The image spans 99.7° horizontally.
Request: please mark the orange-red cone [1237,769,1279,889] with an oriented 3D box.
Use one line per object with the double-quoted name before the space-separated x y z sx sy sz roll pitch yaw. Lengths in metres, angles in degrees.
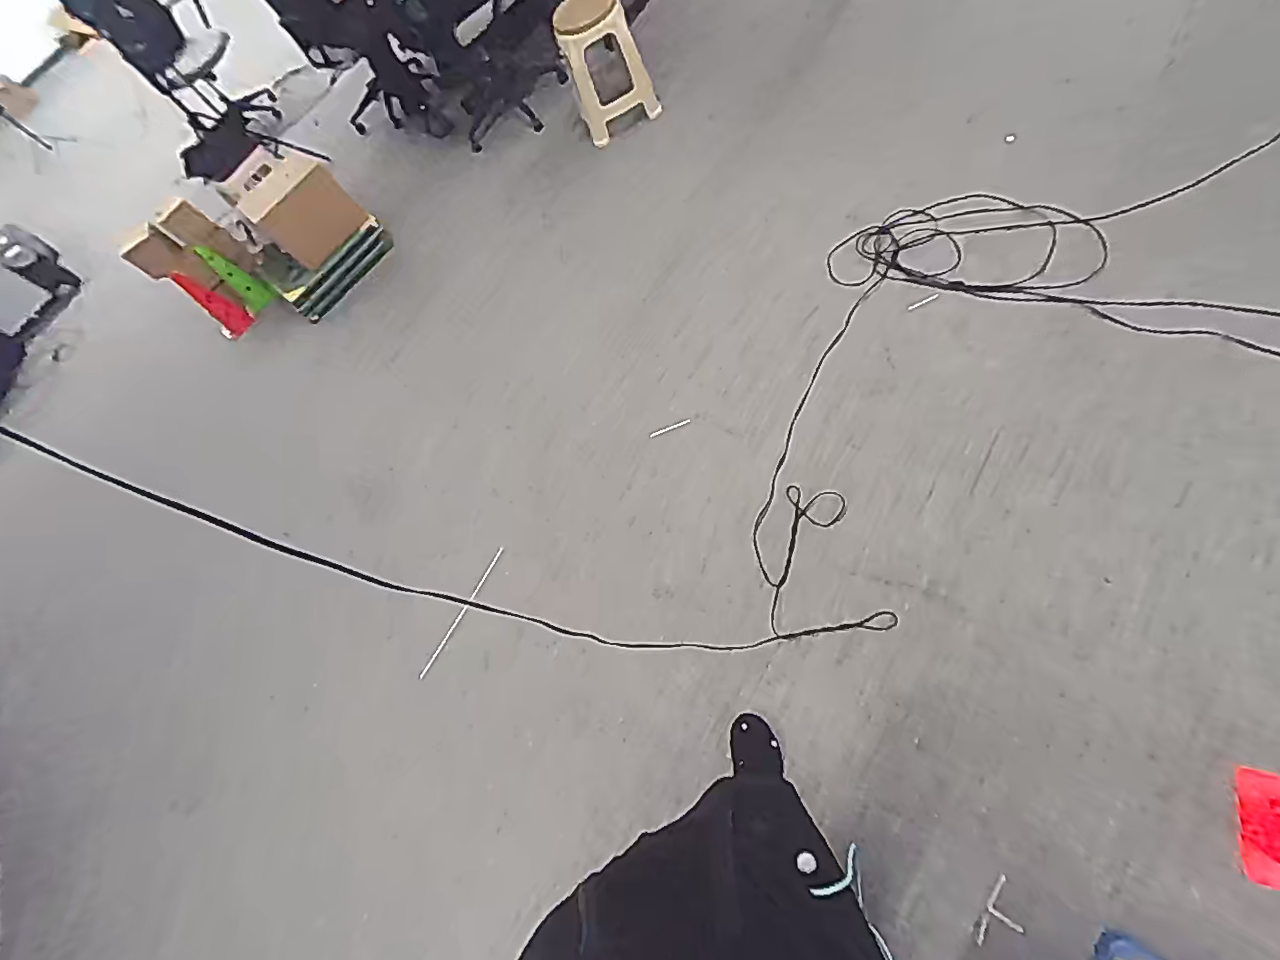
"orange-red cone" 1.176 0.592 0.842 0.198 0.360 0.199 10 69 23
